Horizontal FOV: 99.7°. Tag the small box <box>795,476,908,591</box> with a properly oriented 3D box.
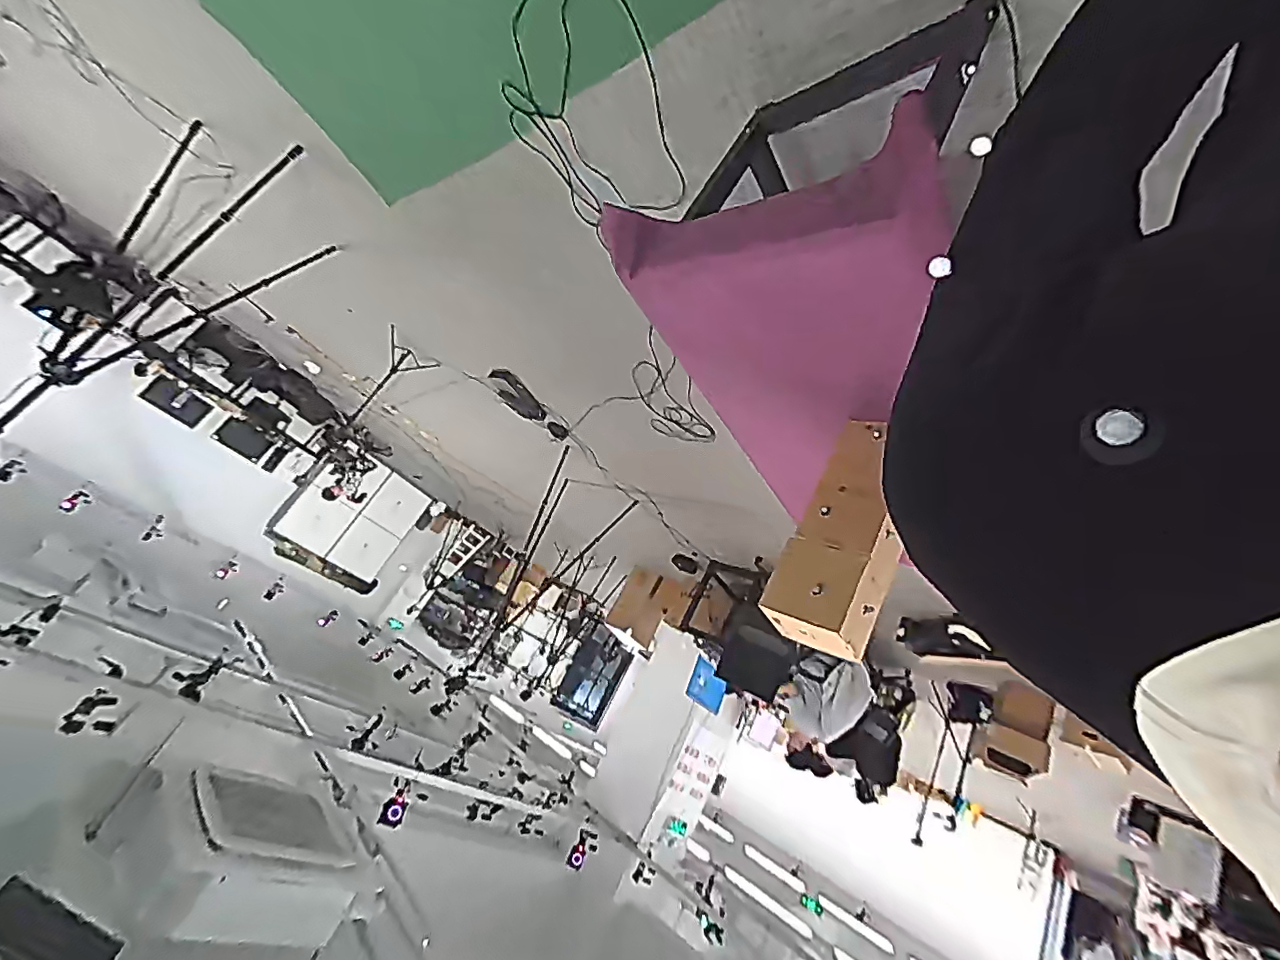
[{"bbox_3d":[0.465,0.112,1.178,0.168,0.176,0.179,12,152,42],"label":"small box"}]

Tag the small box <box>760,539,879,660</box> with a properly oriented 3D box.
[{"bbox_3d":[0.382,0.241,1.126,0.179,0.176,0.168,11,151,42],"label":"small box"}]
